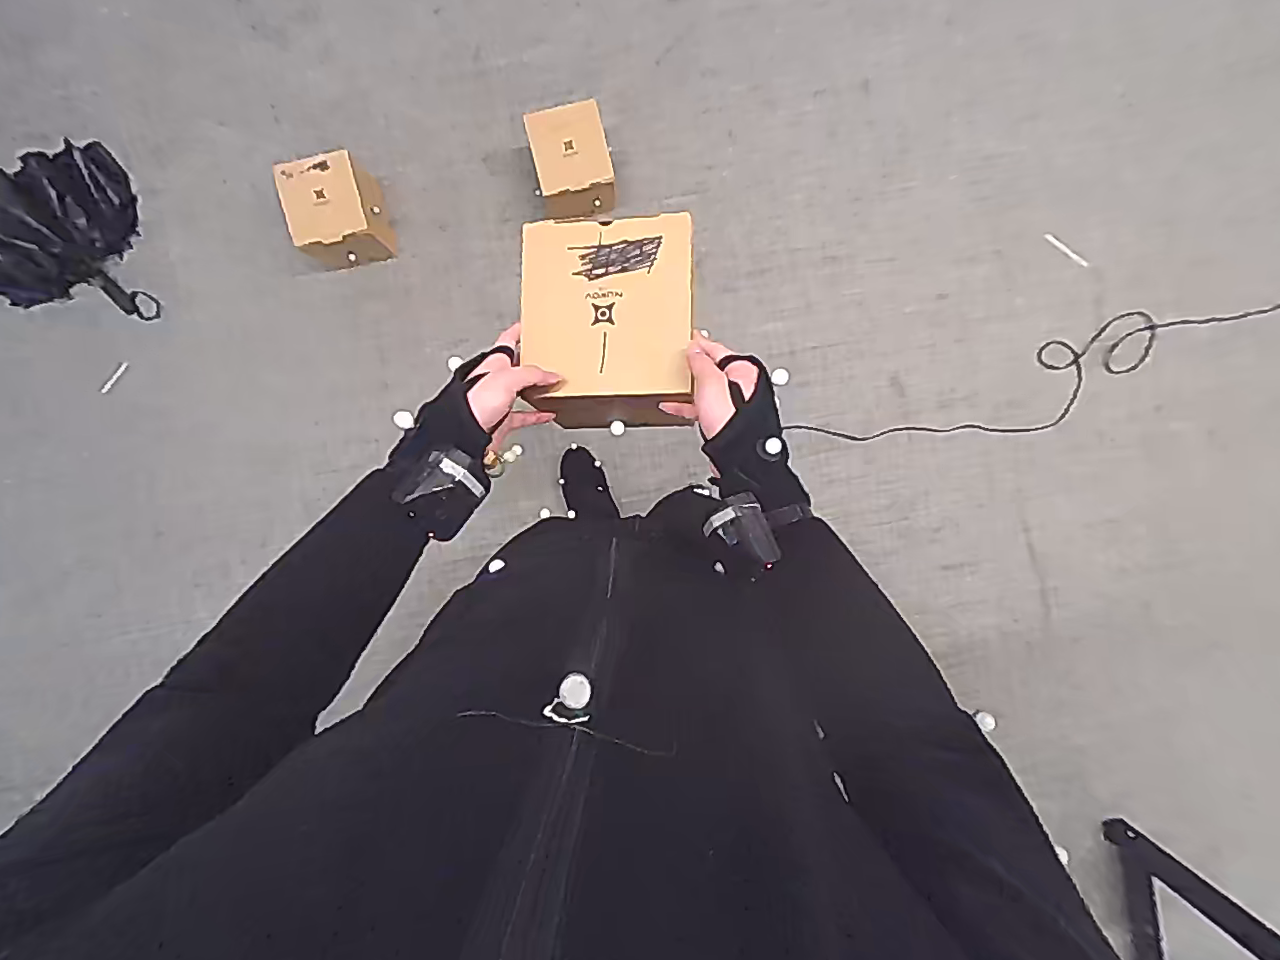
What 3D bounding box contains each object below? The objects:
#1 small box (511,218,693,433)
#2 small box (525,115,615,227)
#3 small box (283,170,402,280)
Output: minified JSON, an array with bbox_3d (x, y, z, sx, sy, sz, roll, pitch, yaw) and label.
[{"bbox_3d":[-0.030,-0.153,0.590,0.168,0.176,0.179,-1,84,8],"label":"small box"},{"bbox_3d":[-0.156,-0.707,1.275,0.168,0.176,0.179,-16,92,-2],"label":"small box"},{"bbox_3d":[-0.684,-0.585,1.268,0.168,0.176,0.179,-14,94,-1],"label":"small box"}]
